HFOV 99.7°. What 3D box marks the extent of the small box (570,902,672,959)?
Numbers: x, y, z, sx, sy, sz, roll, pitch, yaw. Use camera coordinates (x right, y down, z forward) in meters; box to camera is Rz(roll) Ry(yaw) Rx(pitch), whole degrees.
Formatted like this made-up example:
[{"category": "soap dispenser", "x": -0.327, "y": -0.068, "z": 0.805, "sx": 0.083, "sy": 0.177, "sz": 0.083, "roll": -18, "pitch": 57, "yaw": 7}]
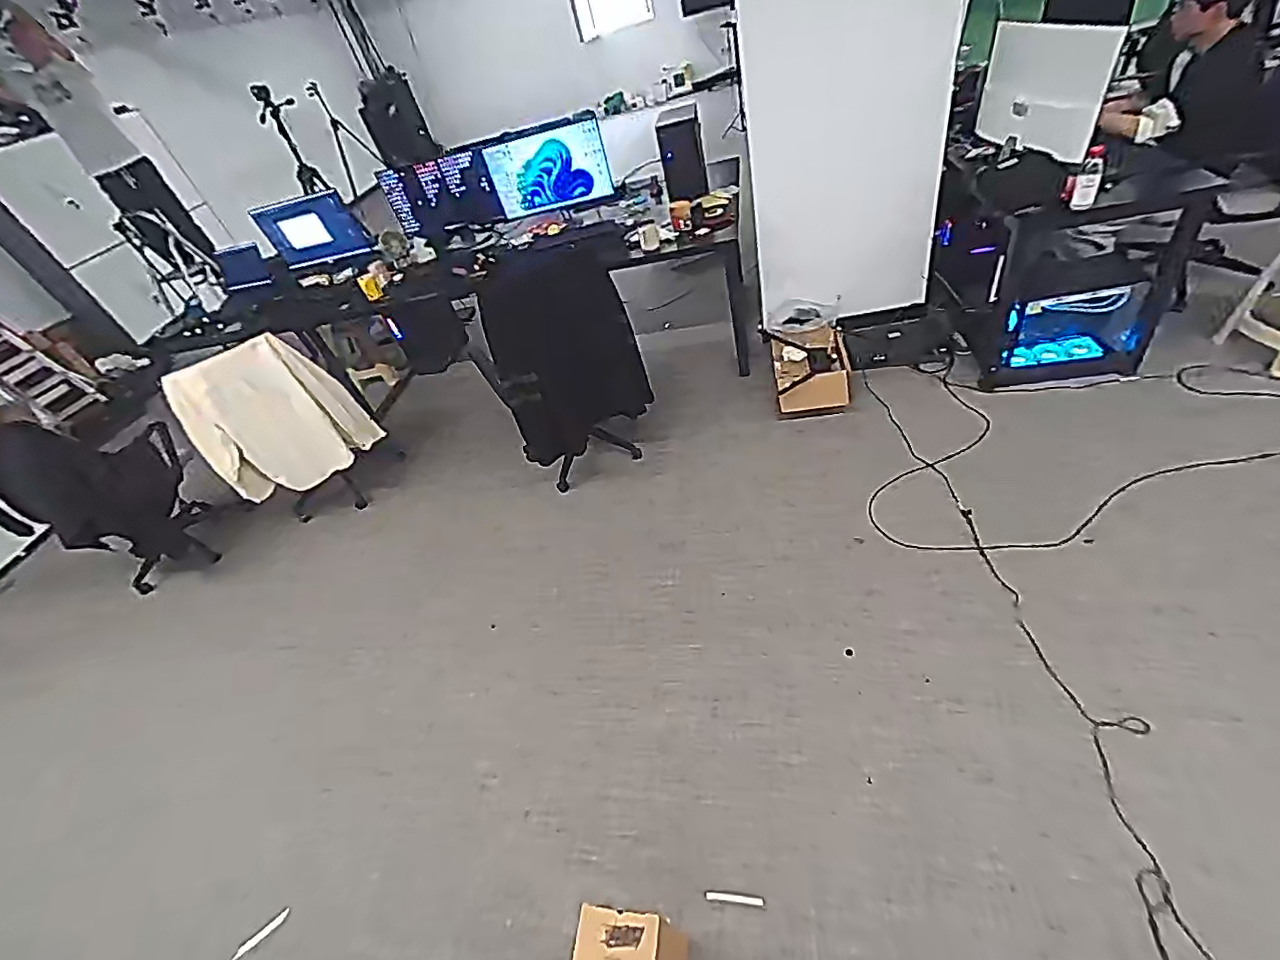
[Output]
[{"category": "small box", "x": -0.037, "y": 0.973, "z": 1.072, "sx": 0.168, "sy": 0.176, "sz": 0.179, "roll": -4, "pitch": 44, "yaw": 16}]
